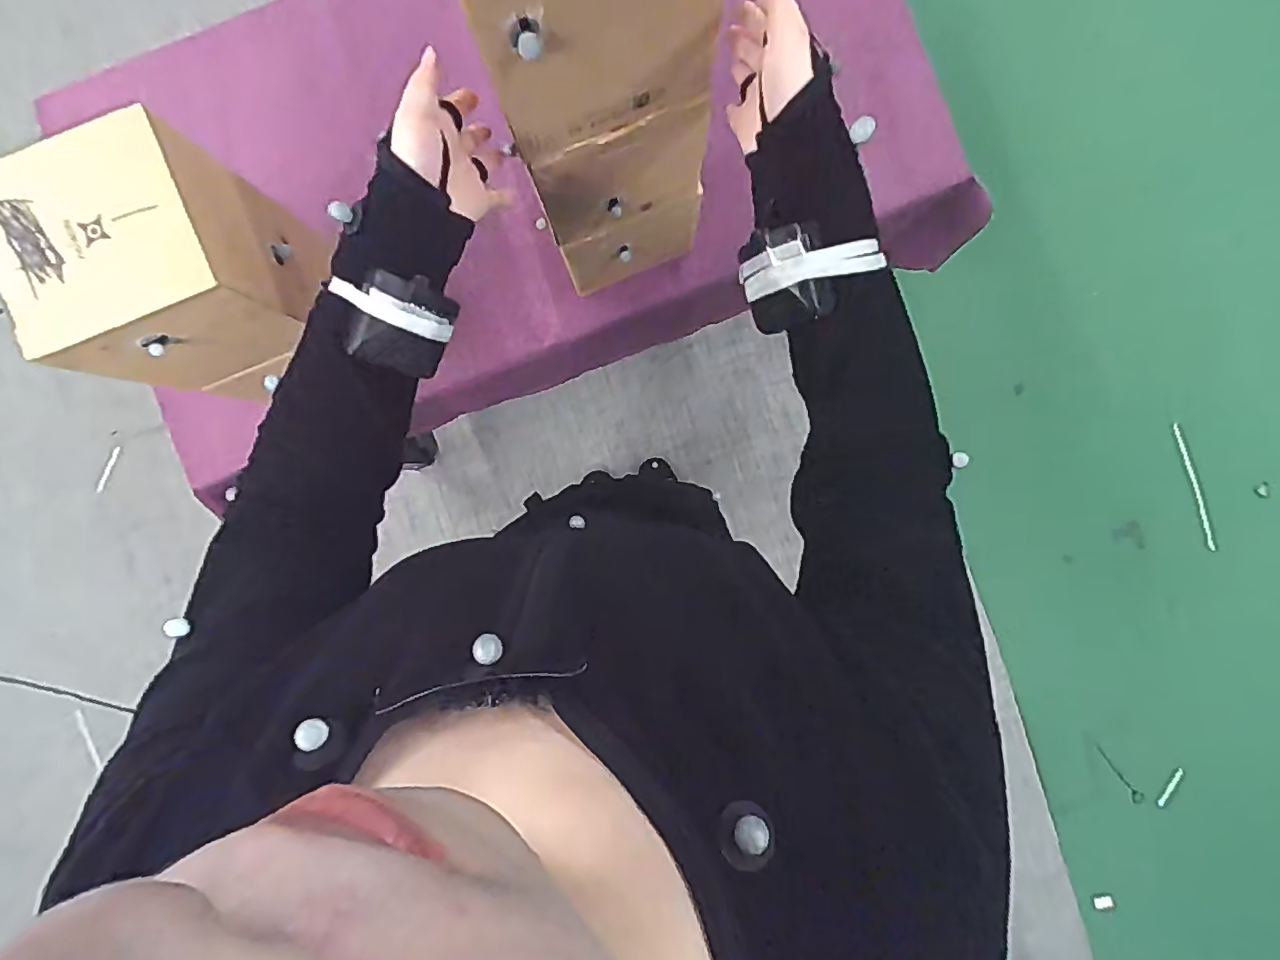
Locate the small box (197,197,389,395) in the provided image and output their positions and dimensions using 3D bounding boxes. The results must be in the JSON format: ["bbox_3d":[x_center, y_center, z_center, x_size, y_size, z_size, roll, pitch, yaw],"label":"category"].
[{"bbox_3d":[-0.458,-0.218,0.696,0.168,0.176,0.179,-21,91,0],"label":"small box"}]

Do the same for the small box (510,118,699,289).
[{"bbox_3d":[-0.037,-0.369,0.688,0.179,0.176,0.168,-22,91,2],"label":"small box"}]

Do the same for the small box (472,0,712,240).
[{"bbox_3d":[-0.045,-0.371,0.525,0.168,0.176,0.179,-20,91,1],"label":"small box"}]

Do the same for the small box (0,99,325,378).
[{"bbox_3d":[-0.461,-0.213,0.532,0.179,0.176,0.168,-21,91,0],"label":"small box"}]
